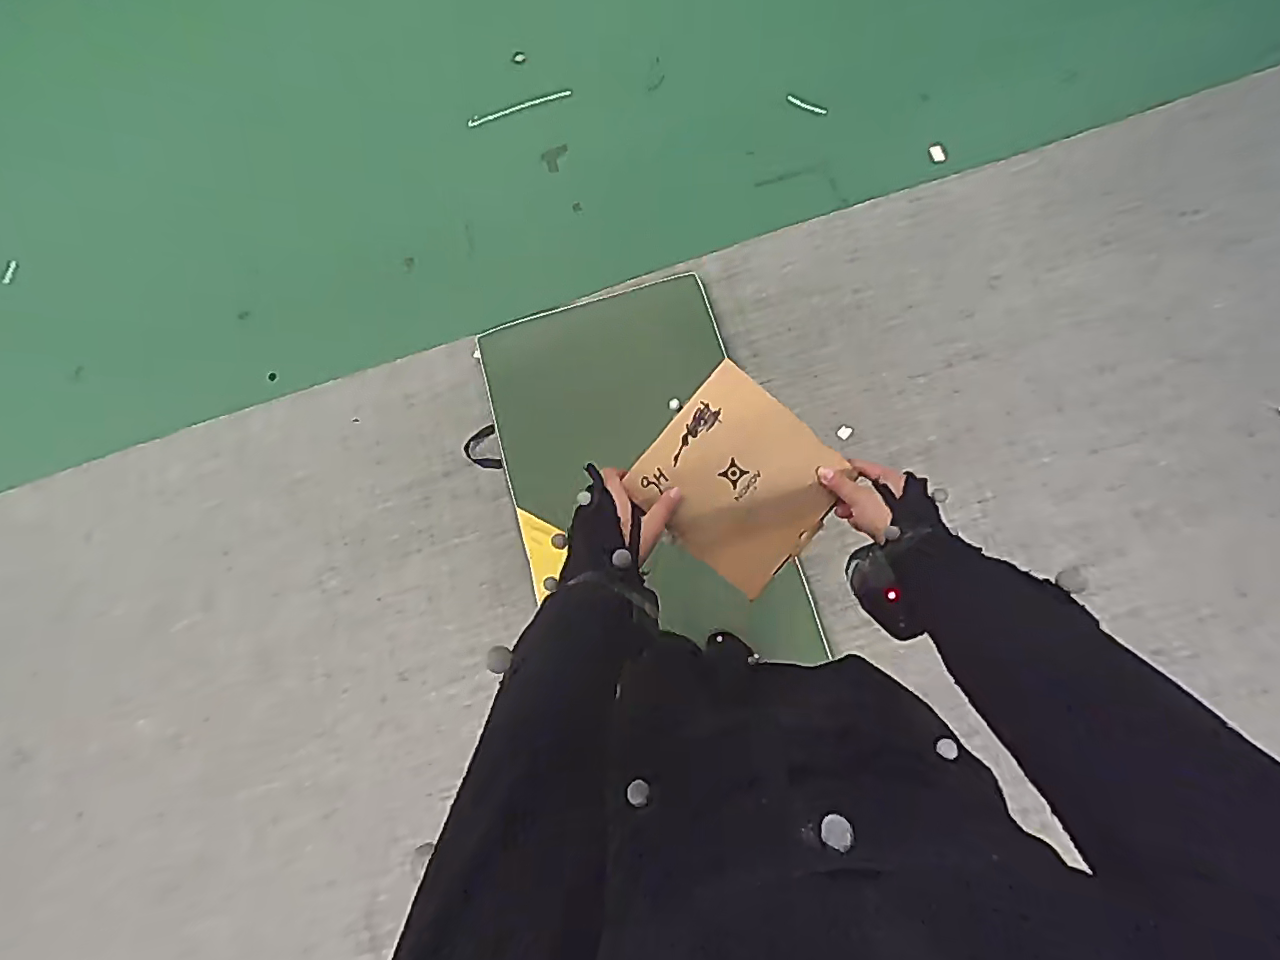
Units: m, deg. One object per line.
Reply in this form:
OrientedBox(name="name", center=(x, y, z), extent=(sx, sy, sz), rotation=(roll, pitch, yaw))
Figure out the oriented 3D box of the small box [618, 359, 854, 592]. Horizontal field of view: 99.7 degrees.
OrientedBox(name="small box", center=(0.093, -0.006, 0.608), extent=(0.179, 0.176, 0.168), rotation=(41, 89, -2))
